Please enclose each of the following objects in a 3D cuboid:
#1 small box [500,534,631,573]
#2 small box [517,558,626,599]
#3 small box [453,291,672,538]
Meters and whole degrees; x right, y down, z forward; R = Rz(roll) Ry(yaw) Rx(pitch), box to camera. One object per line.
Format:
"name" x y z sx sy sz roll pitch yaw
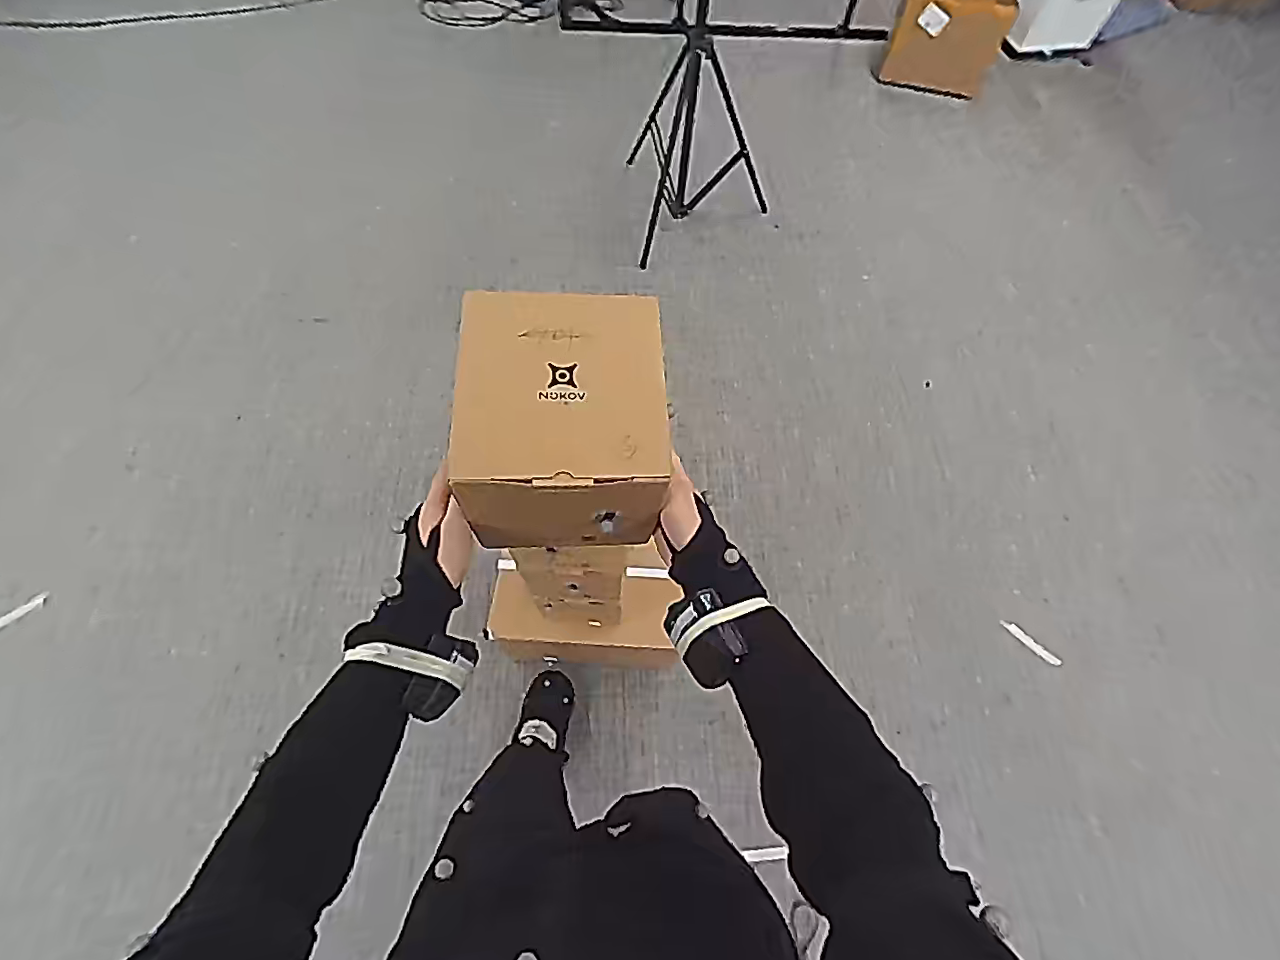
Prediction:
"small box" -0.093 0.027 0.776 0.168 0.176 0.179 2 63 -2
"small box" -0.103 0.098 0.923 0.168 0.176 0.179 4 64 -1
"small box" -0.068 -0.048 0.504 0.168 0.176 0.179 -1 65 -8
